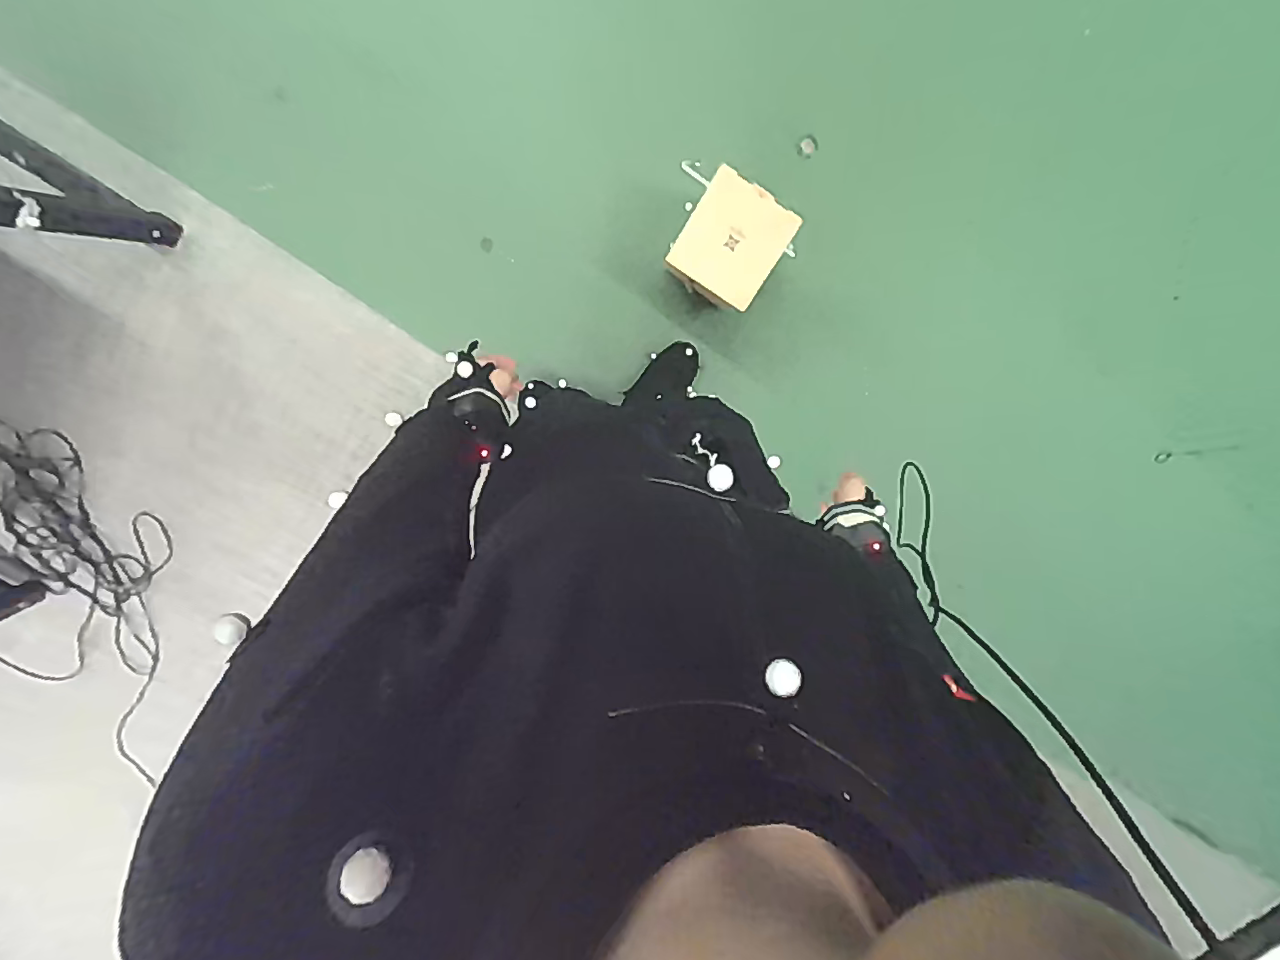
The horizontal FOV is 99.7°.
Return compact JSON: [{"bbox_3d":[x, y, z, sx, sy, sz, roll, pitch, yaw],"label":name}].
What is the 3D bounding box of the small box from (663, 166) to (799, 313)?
[{"bbox_3d":[0.156,-0.424,0.983,0.168,0.176,0.179,31,106,-9],"label":"small box"}]
